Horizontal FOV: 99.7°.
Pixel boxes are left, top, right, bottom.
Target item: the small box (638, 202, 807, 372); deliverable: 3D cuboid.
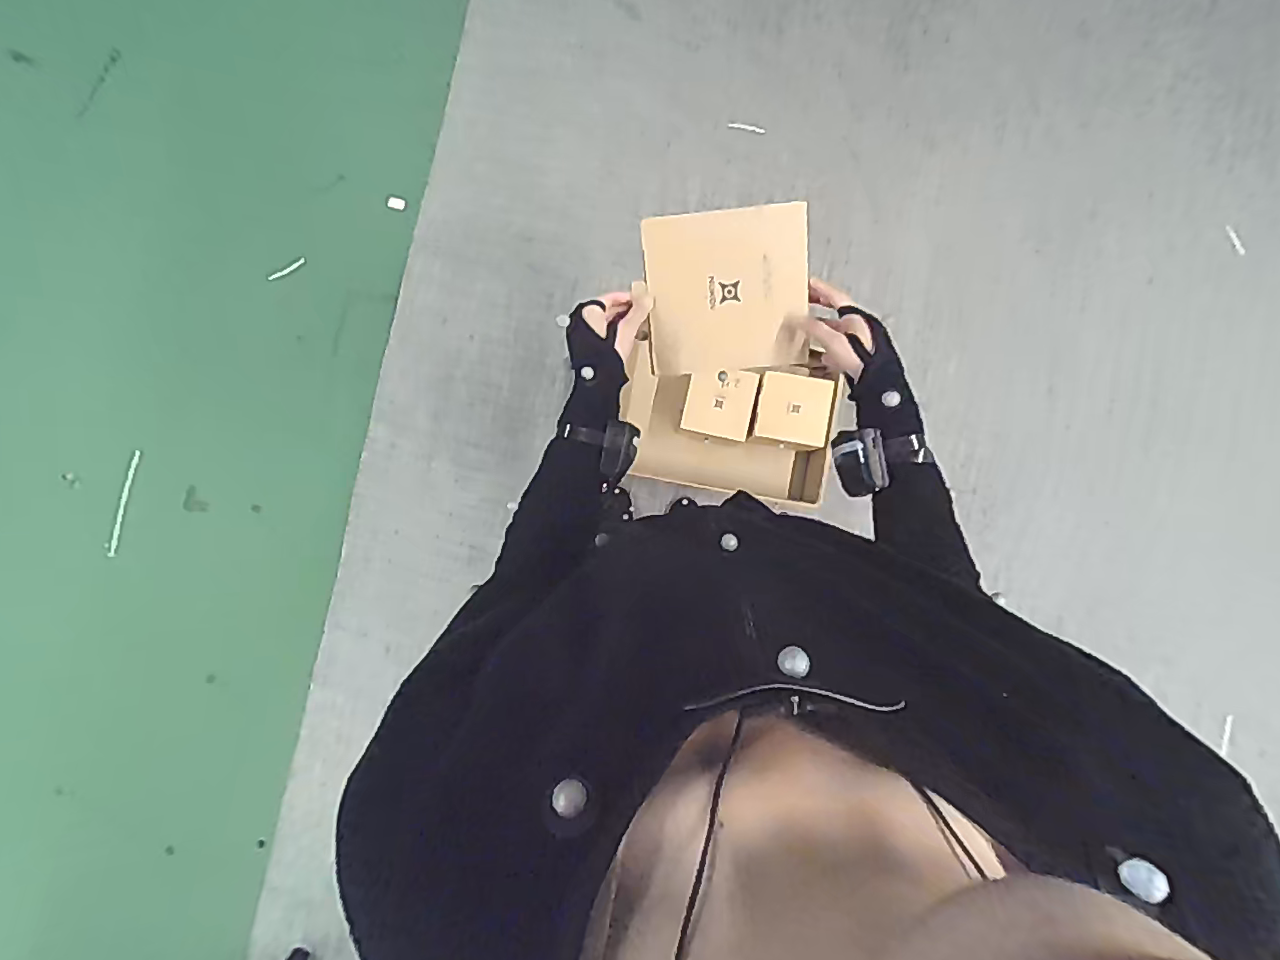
[{"bbox_3d":[0.095,-0.222,0.658,0.179,0.176,0.168,-4,104,4],"label":"small box"}]
